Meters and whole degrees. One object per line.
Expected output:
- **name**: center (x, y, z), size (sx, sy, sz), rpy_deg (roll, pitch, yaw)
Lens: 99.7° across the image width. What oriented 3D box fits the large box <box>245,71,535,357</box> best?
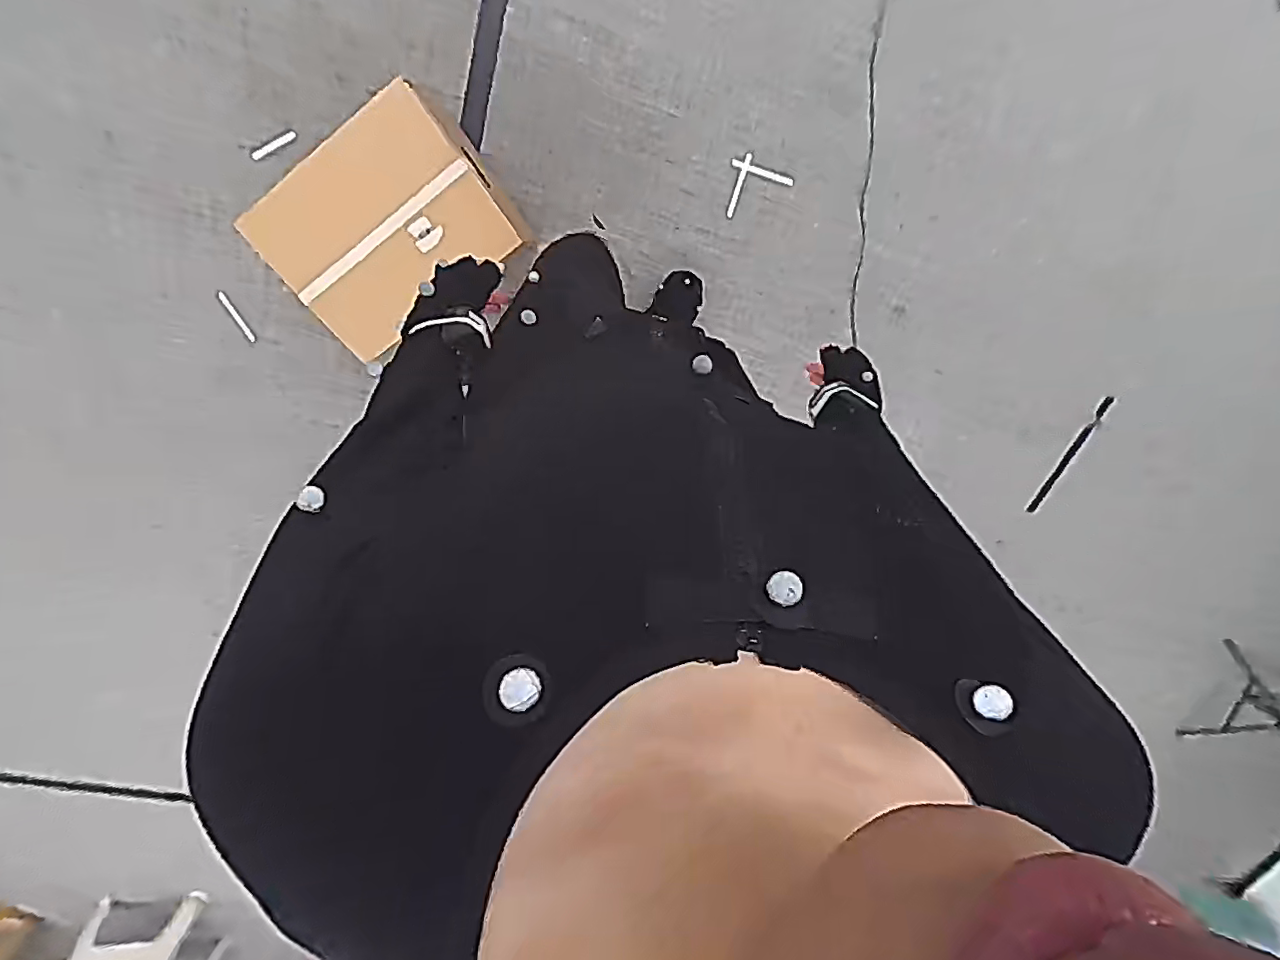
- **large box**: center (-0.479, -0.521, 1.123), size (0.408, 0.320, 0.320), rpy_deg (-34, 114, 9)
